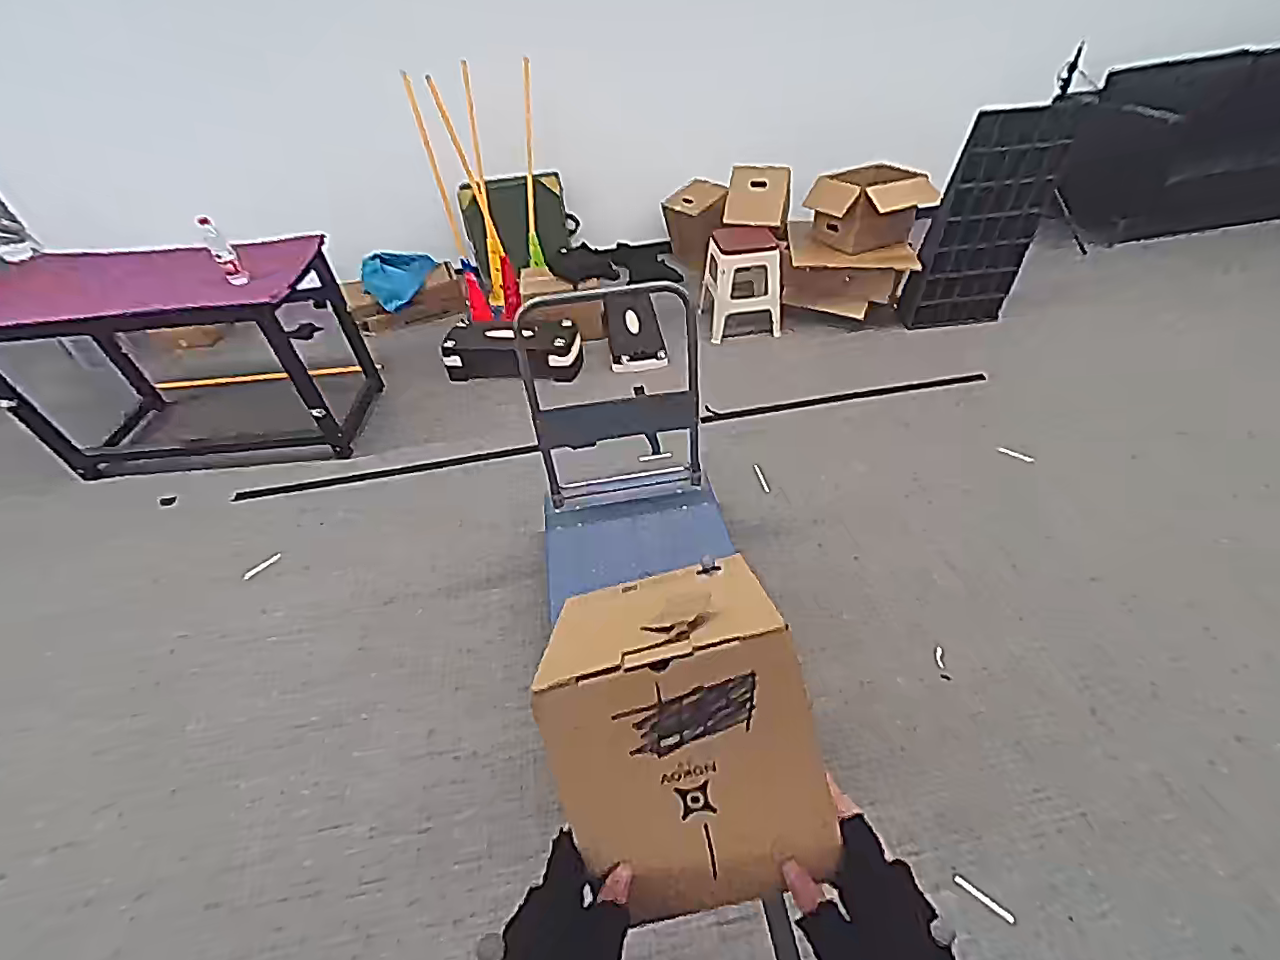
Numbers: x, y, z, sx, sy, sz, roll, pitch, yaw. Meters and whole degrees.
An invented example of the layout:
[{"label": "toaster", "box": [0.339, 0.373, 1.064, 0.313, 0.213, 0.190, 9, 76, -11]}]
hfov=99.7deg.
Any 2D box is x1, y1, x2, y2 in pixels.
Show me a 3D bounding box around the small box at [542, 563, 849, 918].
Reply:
[{"label": "small box", "box": [0.036, 0.176, 0.422, 0.168, 0.179, 0.176, -15, 7, 3]}]
